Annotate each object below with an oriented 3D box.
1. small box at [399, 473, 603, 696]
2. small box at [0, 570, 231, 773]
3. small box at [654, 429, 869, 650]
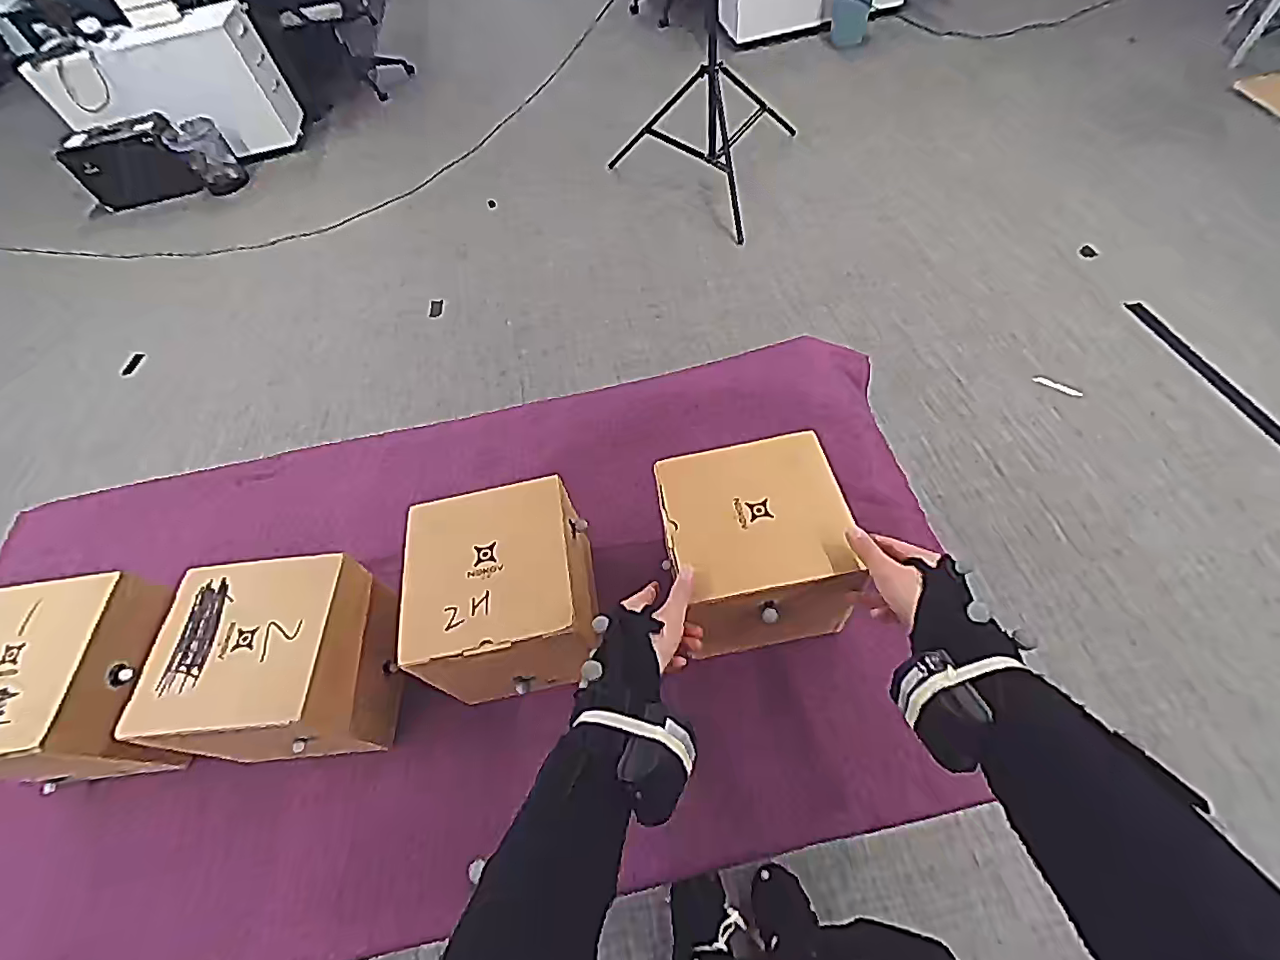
[{"bbox_3d":[-0.143,0.121,0.603,0.168,0.176,0.179,-12,56,1],"label":"small box"},{"bbox_3d":[-0.611,0.221,0.604,0.168,0.176,0.179,-8,57,2],"label":"small box"},{"bbox_3d":[0.121,0.072,0.597,0.179,0.176,0.168,-12,55,1],"label":"small box"}]
